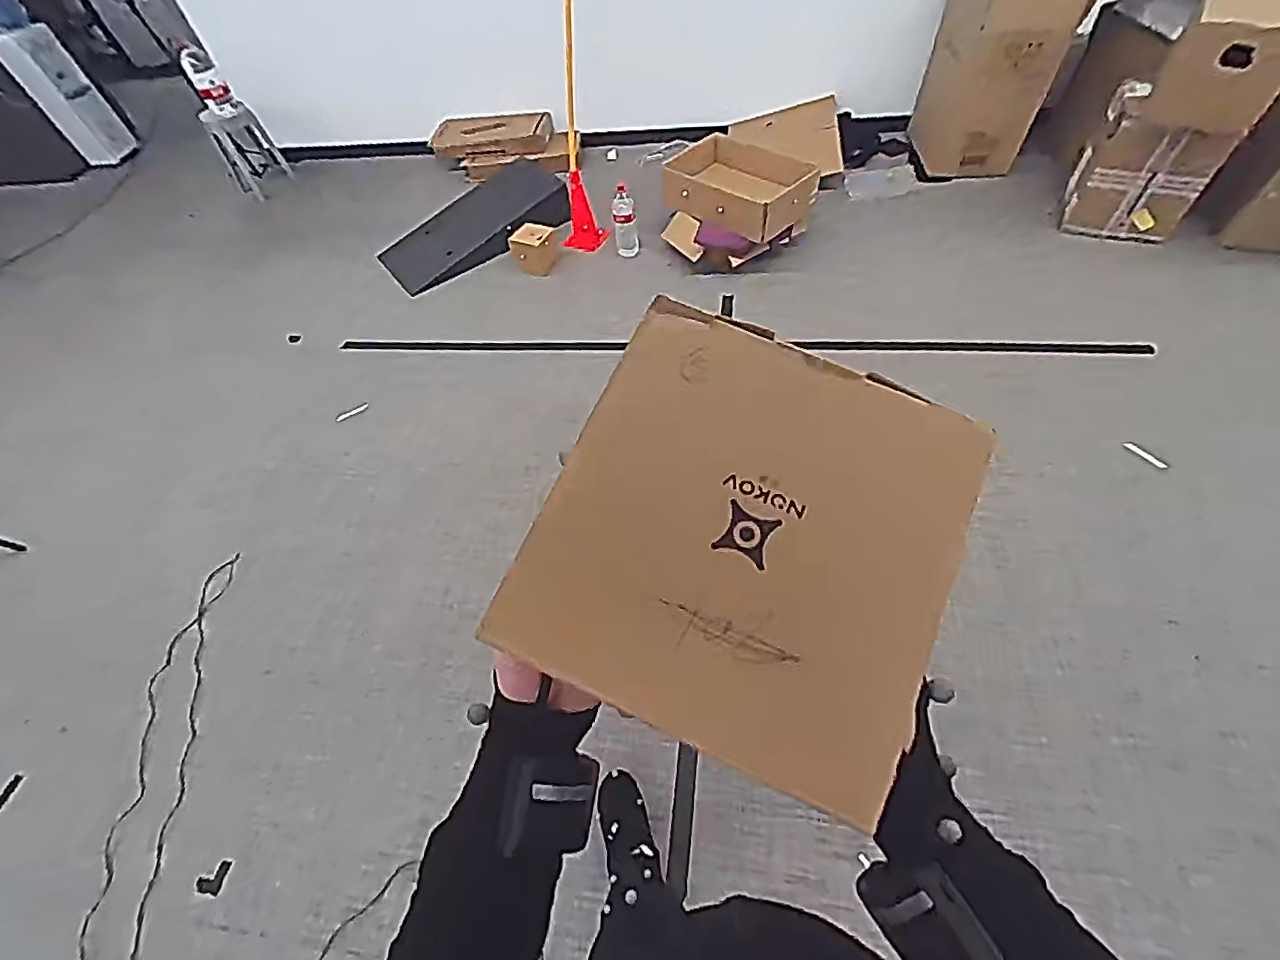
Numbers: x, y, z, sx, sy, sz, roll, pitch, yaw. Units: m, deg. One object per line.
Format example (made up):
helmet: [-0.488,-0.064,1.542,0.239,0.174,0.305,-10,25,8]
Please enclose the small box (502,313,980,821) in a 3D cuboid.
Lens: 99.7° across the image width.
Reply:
small box: [0.049,0.045,0.313,0.168,0.176,0.179,23,76,7]
